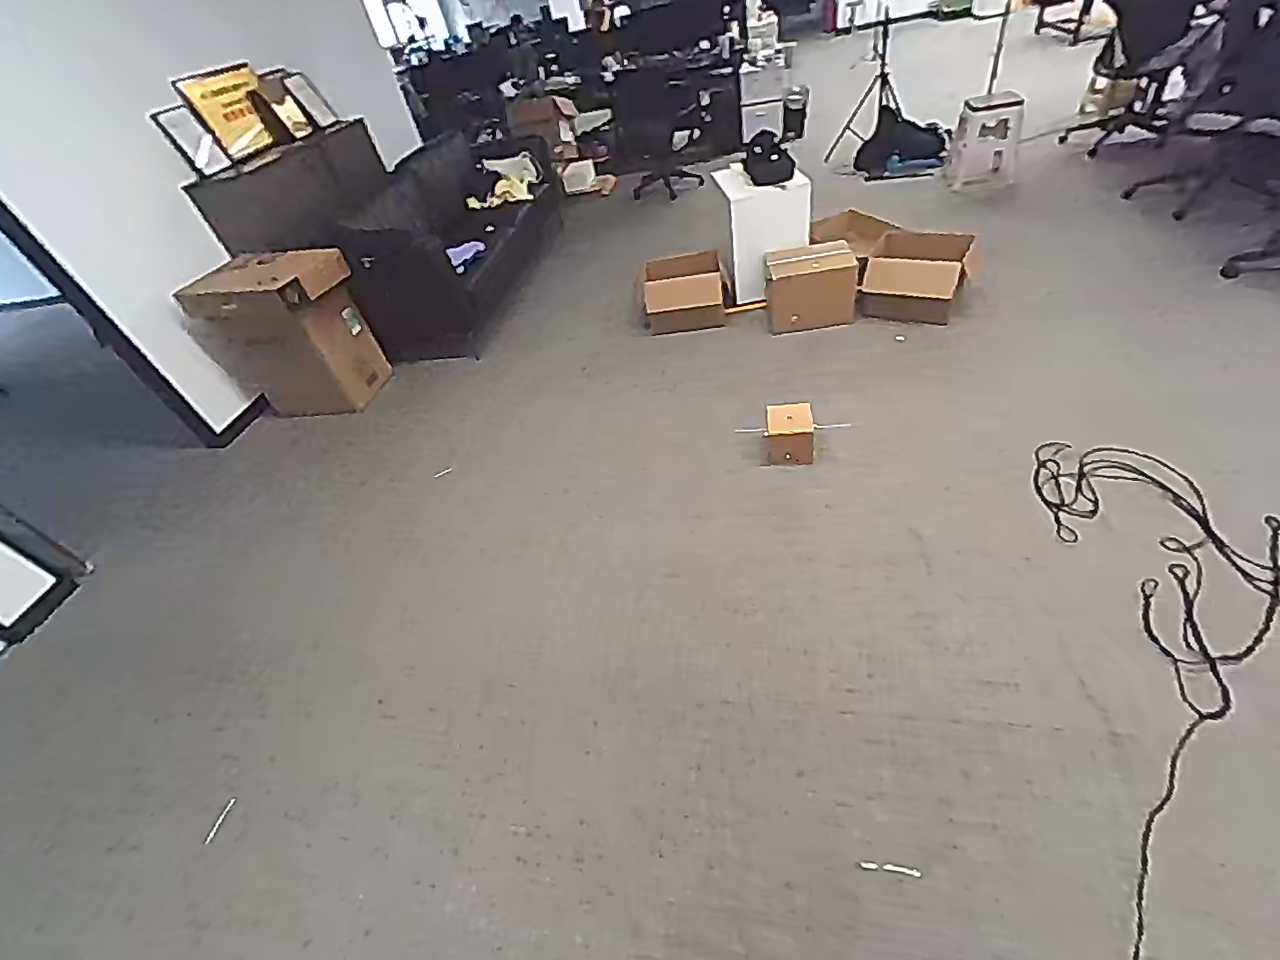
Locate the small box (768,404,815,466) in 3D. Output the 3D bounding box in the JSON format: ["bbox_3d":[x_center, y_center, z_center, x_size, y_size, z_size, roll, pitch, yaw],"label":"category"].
[{"bbox_3d":[0.589,-0.174,2.115,0.168,0.176,0.179,-3,45,13],"label":"small box"}]
